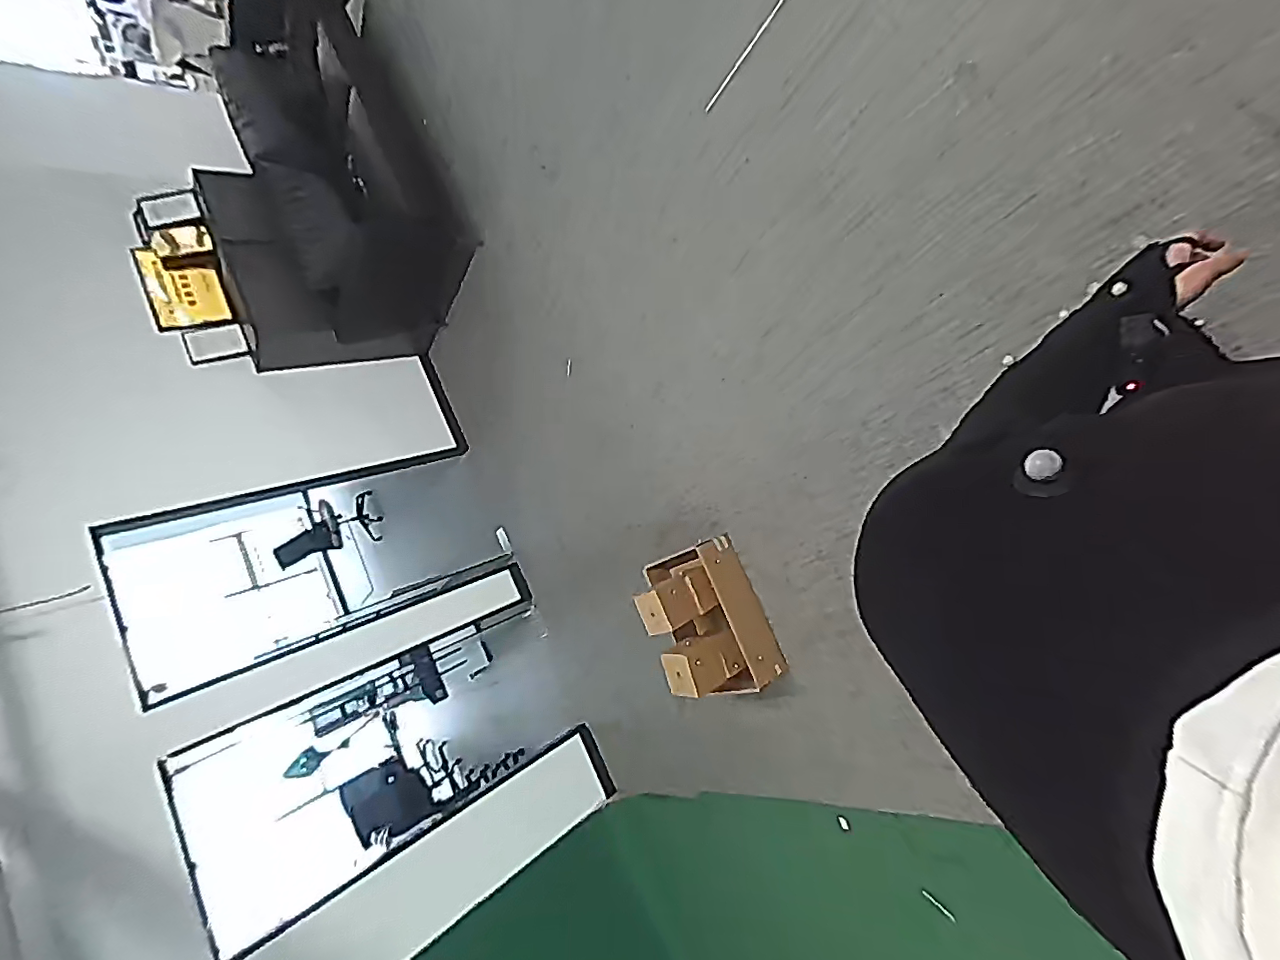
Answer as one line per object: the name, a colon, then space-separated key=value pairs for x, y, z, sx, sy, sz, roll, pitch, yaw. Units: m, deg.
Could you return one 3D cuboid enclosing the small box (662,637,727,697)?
small box: x=0.220 y=0.743 z=2.172 sx=0.168 sy=0.176 sz=0.179 roll=-18 pitch=89 yaw=52
